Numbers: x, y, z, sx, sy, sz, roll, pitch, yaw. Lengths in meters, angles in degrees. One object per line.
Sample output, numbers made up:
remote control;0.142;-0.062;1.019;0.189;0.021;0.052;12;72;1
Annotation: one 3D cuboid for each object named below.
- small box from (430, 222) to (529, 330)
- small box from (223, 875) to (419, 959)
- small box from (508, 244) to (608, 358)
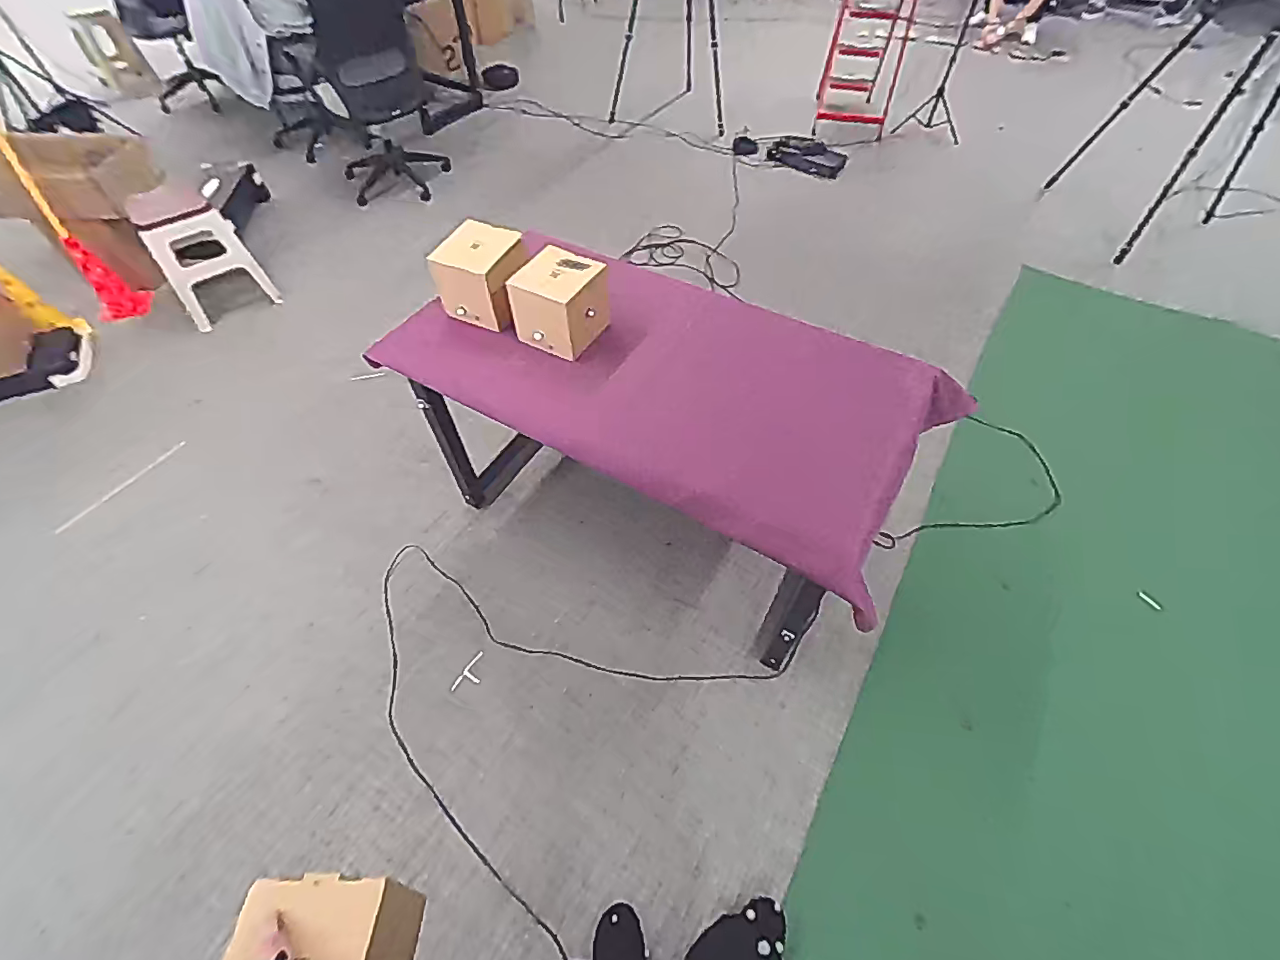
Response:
small box;-0.388;-0.511;1.360;0.168;0.176;0.179;20;58;16
small box;-0.392;0.610;0.666;0.168;0.176;0.179;-2;46;1
small box;-0.187;-0.427;1.295;0.168;0.176;0.179;24;59;18
